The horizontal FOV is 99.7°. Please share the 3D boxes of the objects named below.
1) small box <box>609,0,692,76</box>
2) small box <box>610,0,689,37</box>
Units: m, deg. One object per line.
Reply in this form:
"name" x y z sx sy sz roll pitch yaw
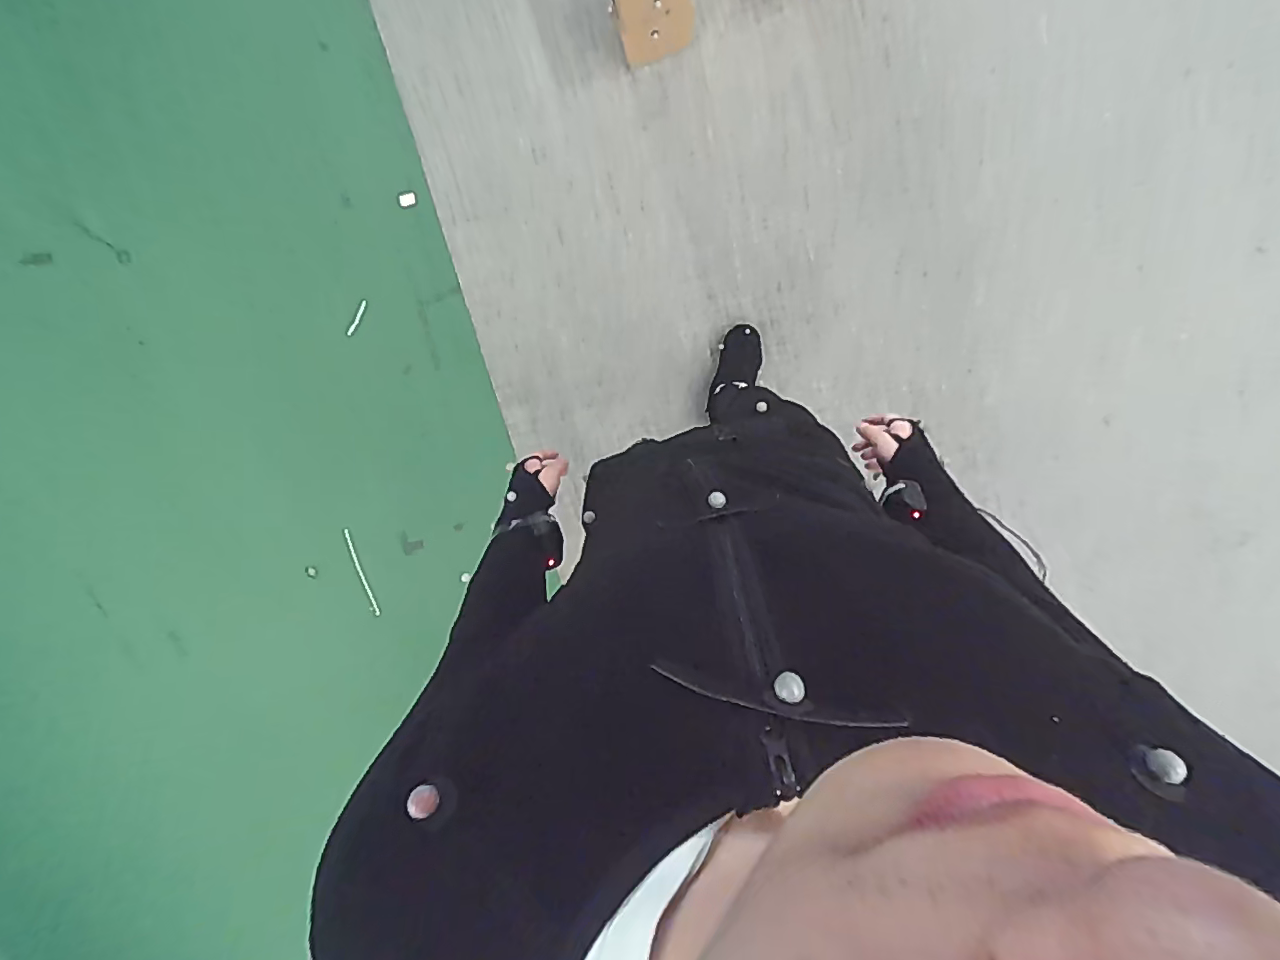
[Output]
"small box" 0.024 -1.128 1.307 0.179 0.176 0.168 -16 100 8
"small box" 0.005 -1.094 1.148 0.168 0.176 0.179 -18 100 9
